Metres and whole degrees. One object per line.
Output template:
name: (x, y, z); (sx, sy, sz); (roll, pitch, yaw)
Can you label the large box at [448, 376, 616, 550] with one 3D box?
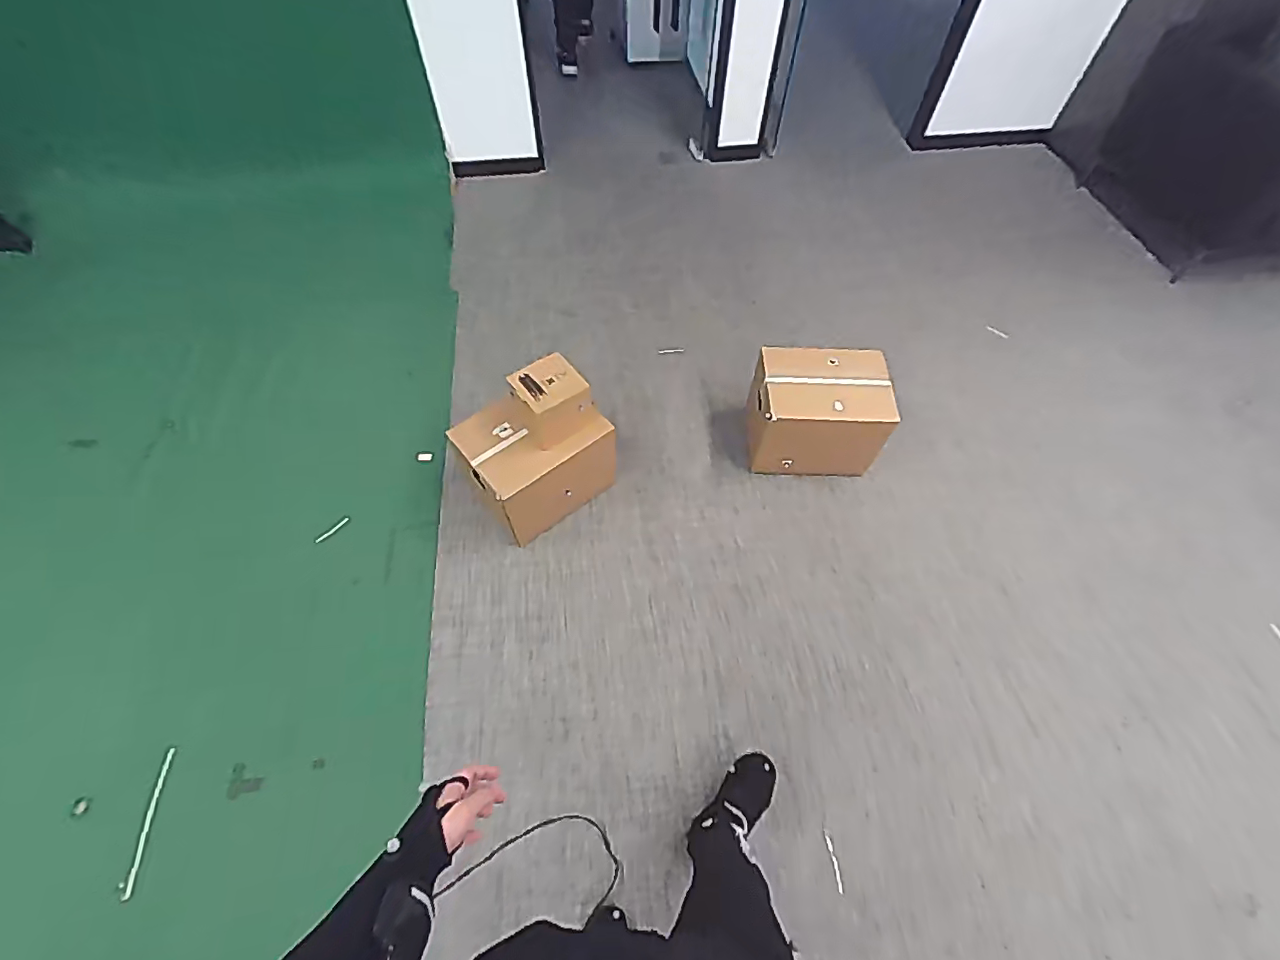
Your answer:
large box: (-0.326, -0.053, 1.740); (0.408, 0.320, 0.320); (-36, 64, -20)
